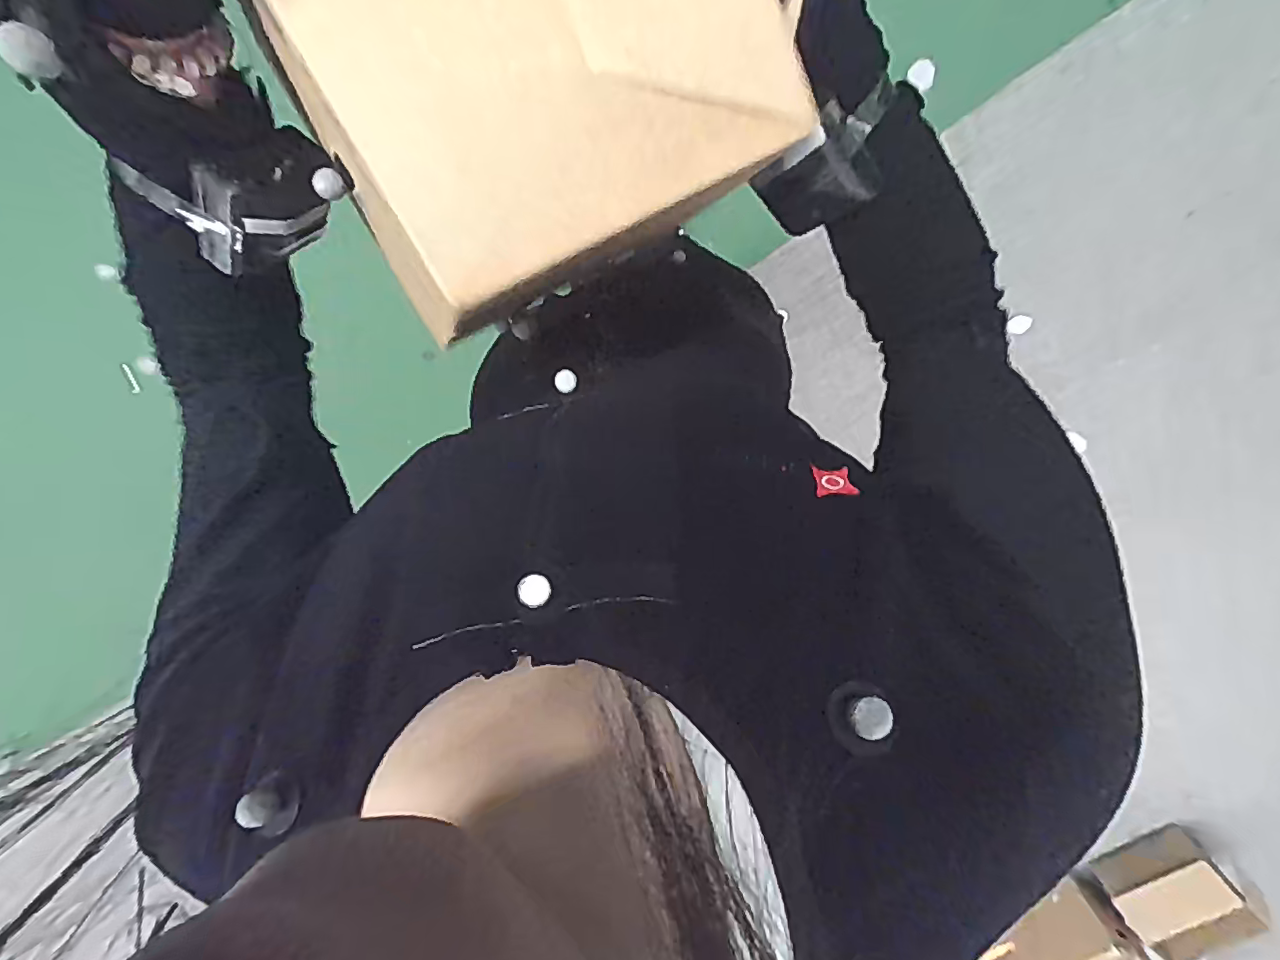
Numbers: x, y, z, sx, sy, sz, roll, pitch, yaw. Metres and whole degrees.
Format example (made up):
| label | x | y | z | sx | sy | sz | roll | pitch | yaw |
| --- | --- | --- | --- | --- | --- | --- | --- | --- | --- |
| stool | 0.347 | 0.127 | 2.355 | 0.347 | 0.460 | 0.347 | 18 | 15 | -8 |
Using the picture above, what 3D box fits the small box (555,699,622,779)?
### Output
| label | x | y | z | sx | sy | sz | roll | pitch | yaw |
| --- | --- | --- | --- | --- | --- | --- | --- | --- | --- |
| small box | -0.184 | 0.925 | 1.943 | 0.179 | 0.176 | 0.168 | -36 | 112 | 16 |
